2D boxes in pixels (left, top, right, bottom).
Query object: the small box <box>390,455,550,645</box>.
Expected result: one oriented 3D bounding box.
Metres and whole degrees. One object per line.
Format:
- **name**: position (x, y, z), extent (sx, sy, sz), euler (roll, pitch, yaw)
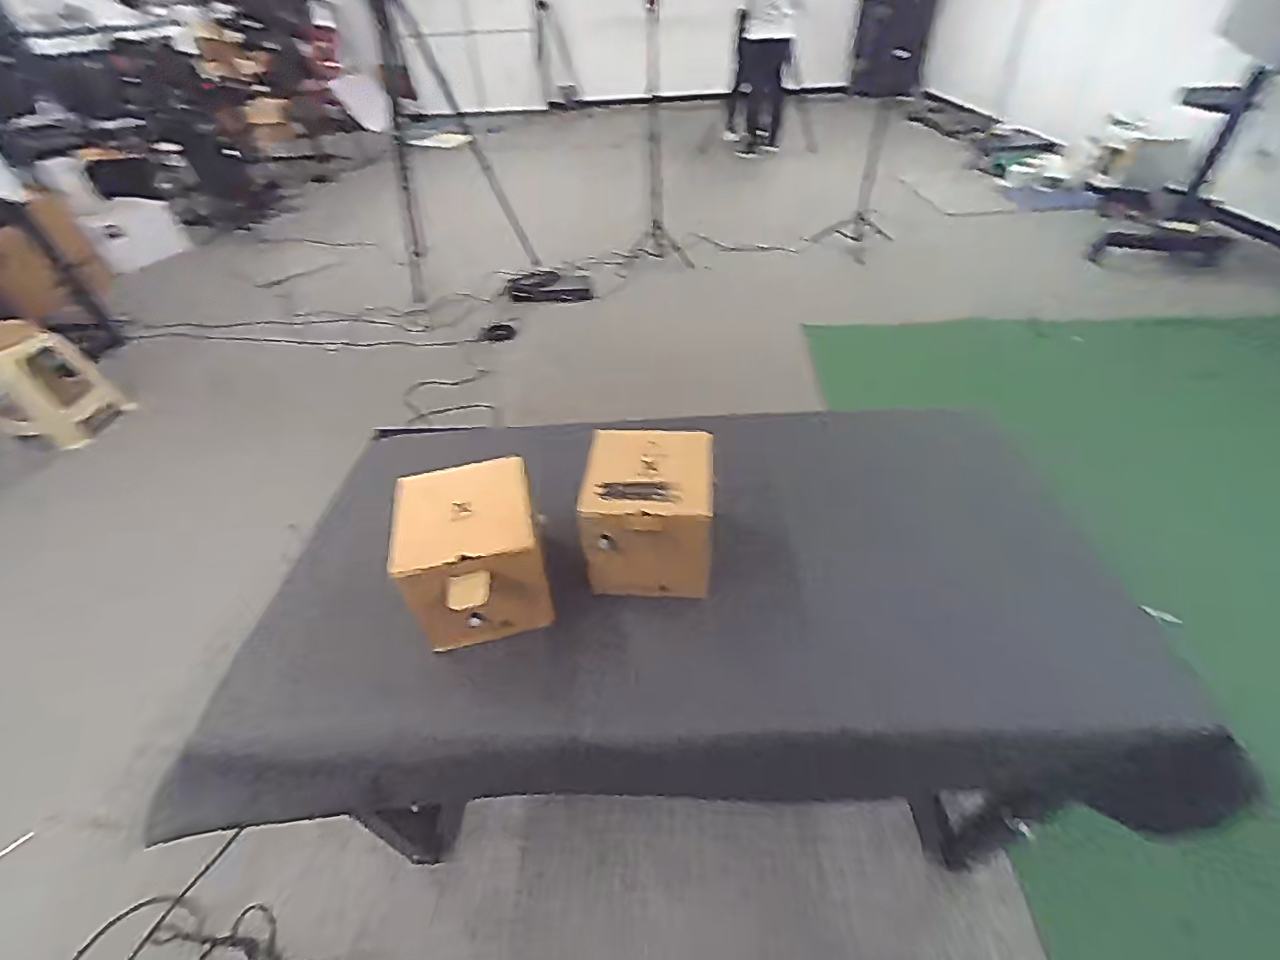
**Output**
- **small box**: position (-0.224, 0.094, 0.742), extent (0.168, 0.176, 0.179), euler (-12, 44, -10)
